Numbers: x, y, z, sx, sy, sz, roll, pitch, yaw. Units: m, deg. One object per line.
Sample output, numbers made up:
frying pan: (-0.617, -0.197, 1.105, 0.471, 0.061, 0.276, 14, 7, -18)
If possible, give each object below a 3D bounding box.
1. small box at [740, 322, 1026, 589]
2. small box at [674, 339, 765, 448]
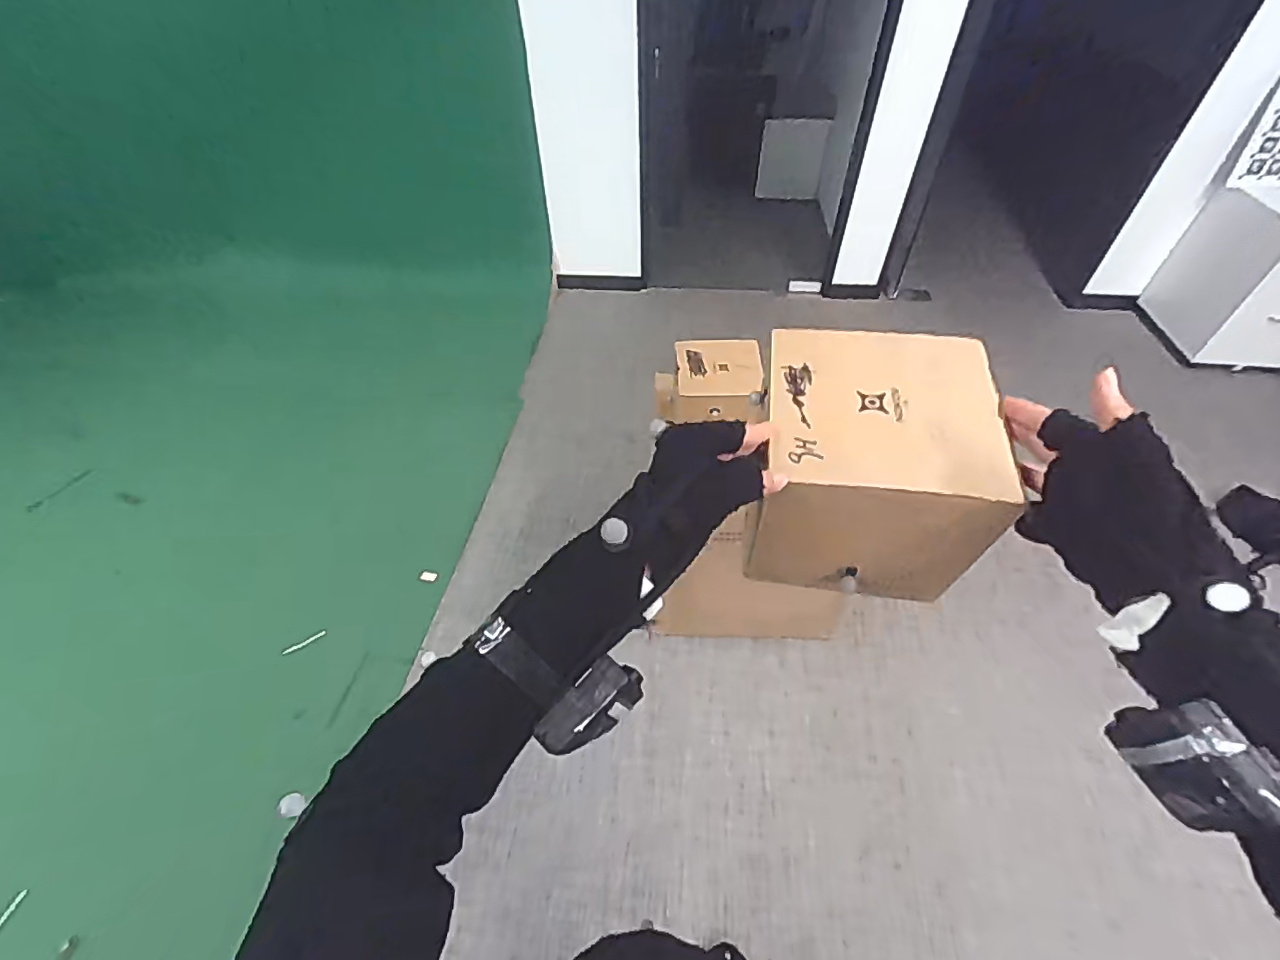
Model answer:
small box: (0.193, -0.016, 0.487, 0.179, 0.176, 0.168, 7, 54, 6)
small box: (0.161, -0.181, 1.155, 0.179, 0.176, 0.168, 0, 54, 0)
